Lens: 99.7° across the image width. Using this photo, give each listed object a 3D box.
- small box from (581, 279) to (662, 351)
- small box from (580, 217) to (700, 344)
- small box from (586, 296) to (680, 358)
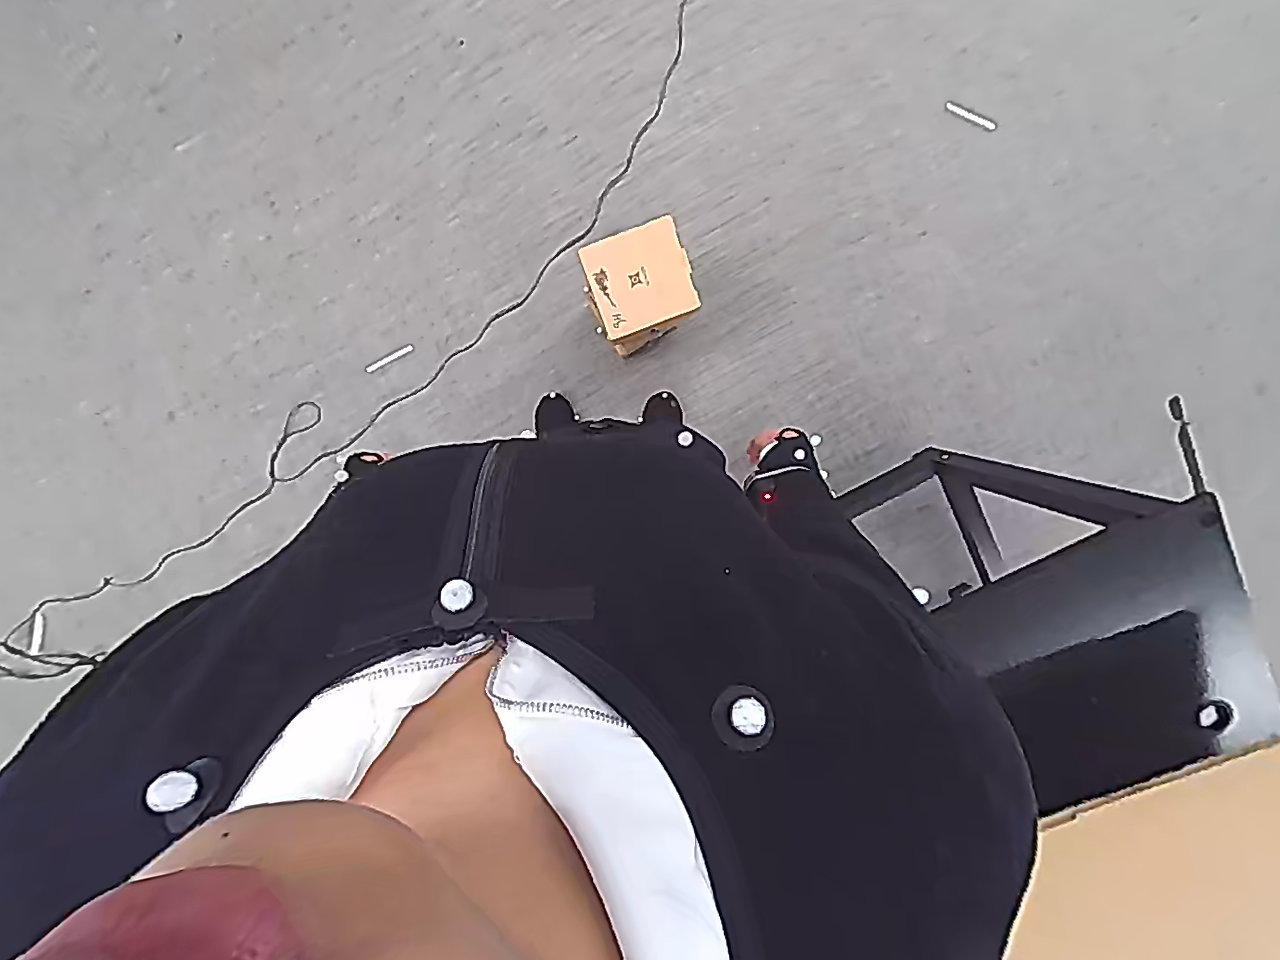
[{"bbox_3d":[-0.010,-0.399,1.190,0.179,0.176,0.168,-35,100,3],"label":"small box"},{"bbox_3d":[-0.004,-0.369,1.029,0.179,0.176,0.168,-20,100,1],"label":"small box"},{"bbox_3d":[-0.018,-0.422,1.350,0.179,0.176,0.168,-31,99,5],"label":"small box"}]
